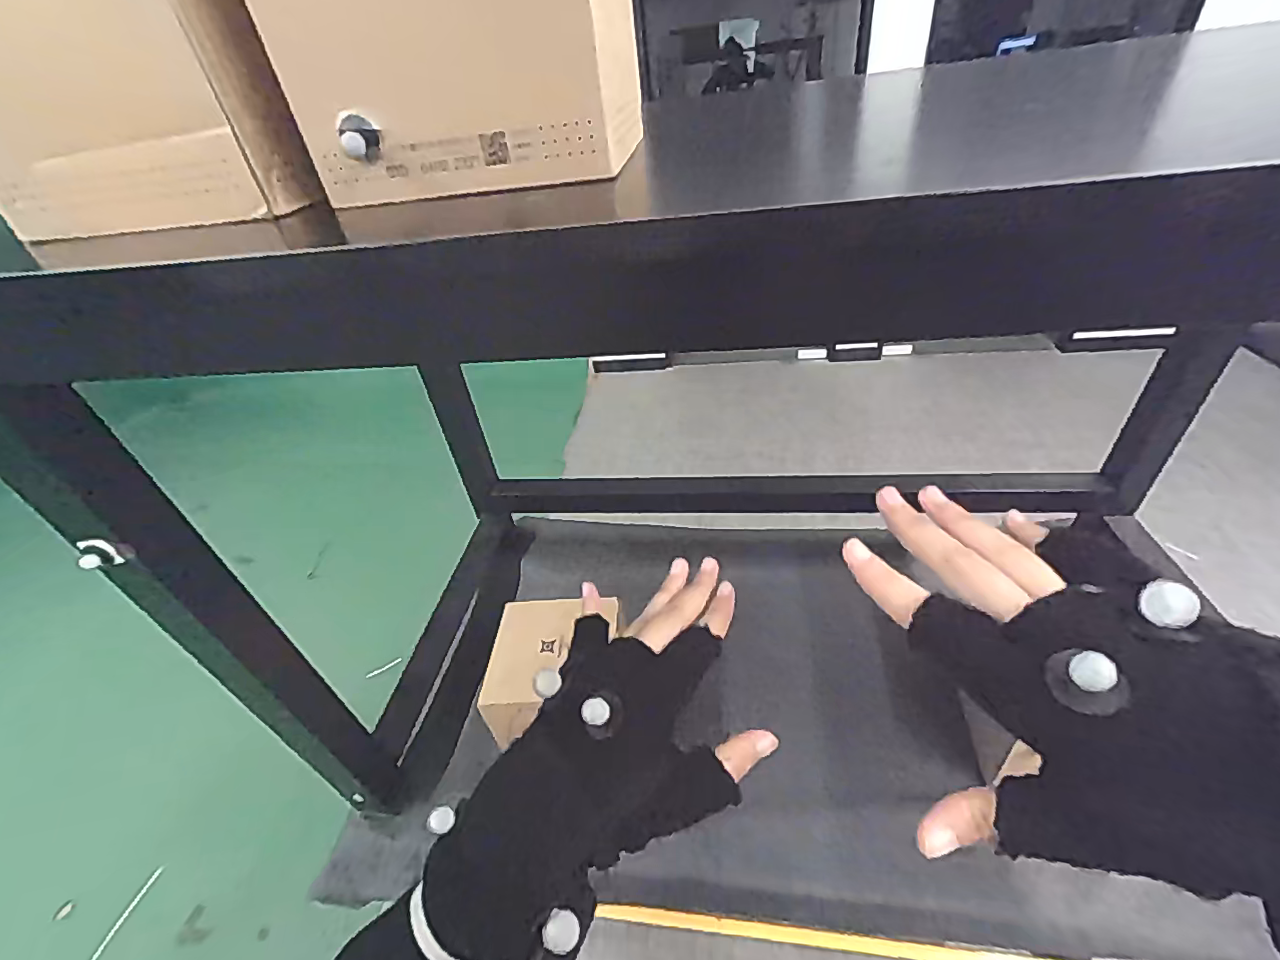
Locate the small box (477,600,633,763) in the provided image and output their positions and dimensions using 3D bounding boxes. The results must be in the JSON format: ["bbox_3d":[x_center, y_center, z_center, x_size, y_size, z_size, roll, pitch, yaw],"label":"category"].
[{"bbox_3d":[-0.111,0.296,0.792,0.179,0.176,0.168,-3,38,6],"label":"small box"}]

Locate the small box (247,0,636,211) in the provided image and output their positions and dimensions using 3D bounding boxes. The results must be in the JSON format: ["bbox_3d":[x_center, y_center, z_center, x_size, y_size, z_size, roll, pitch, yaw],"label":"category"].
[{"bbox_3d":[-0.098,-0.266,0.318,0.168,0.176,0.179,-1,37,8],"label":"small box"}]
